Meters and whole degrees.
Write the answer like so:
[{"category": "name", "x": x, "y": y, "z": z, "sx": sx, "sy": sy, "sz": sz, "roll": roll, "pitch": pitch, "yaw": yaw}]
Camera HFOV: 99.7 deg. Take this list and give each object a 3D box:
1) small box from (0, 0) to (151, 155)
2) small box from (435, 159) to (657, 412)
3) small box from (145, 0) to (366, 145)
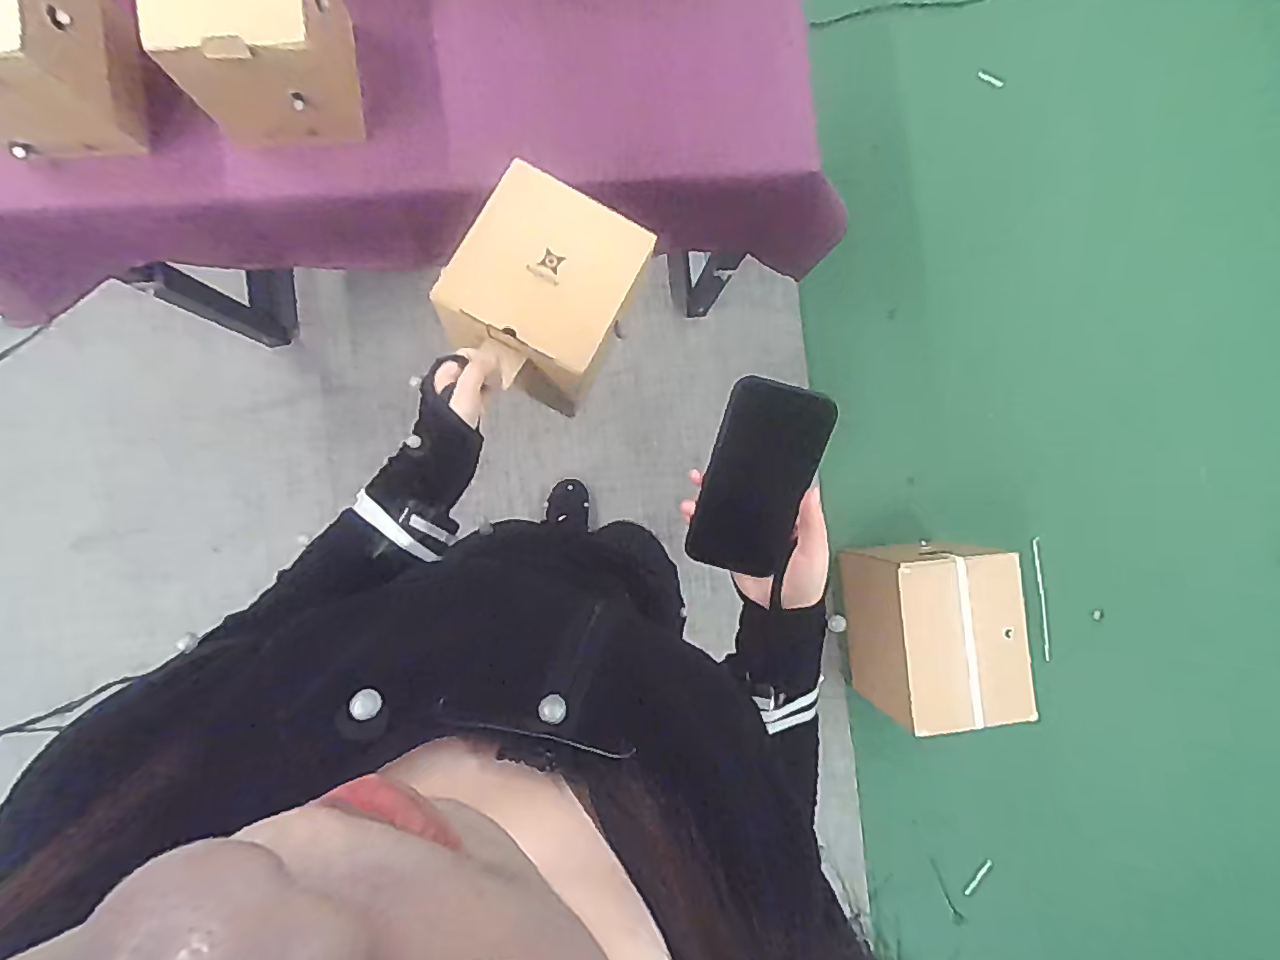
[{"category": "small box", "x": -0.726, "y": -0.510, "z": 0.633, "sx": 0.168, "sy": 0.176, "sz": 0.179, "roll": -7, "pitch": 88, "yaw": -7}, {"category": "small box", "x": -0.104, "y": -0.204, "z": 0.617, "sx": 0.168, "sy": 0.176, "sz": 0.179, "roll": 28, "pitch": 79, "yaw": -5}, {"category": "small box", "x": -0.455, "y": -0.542, "z": 0.663, "sx": 0.168, "sy": 0.176, "sz": 0.179, "roll": -6, "pitch": 88, "yaw": -7}]
